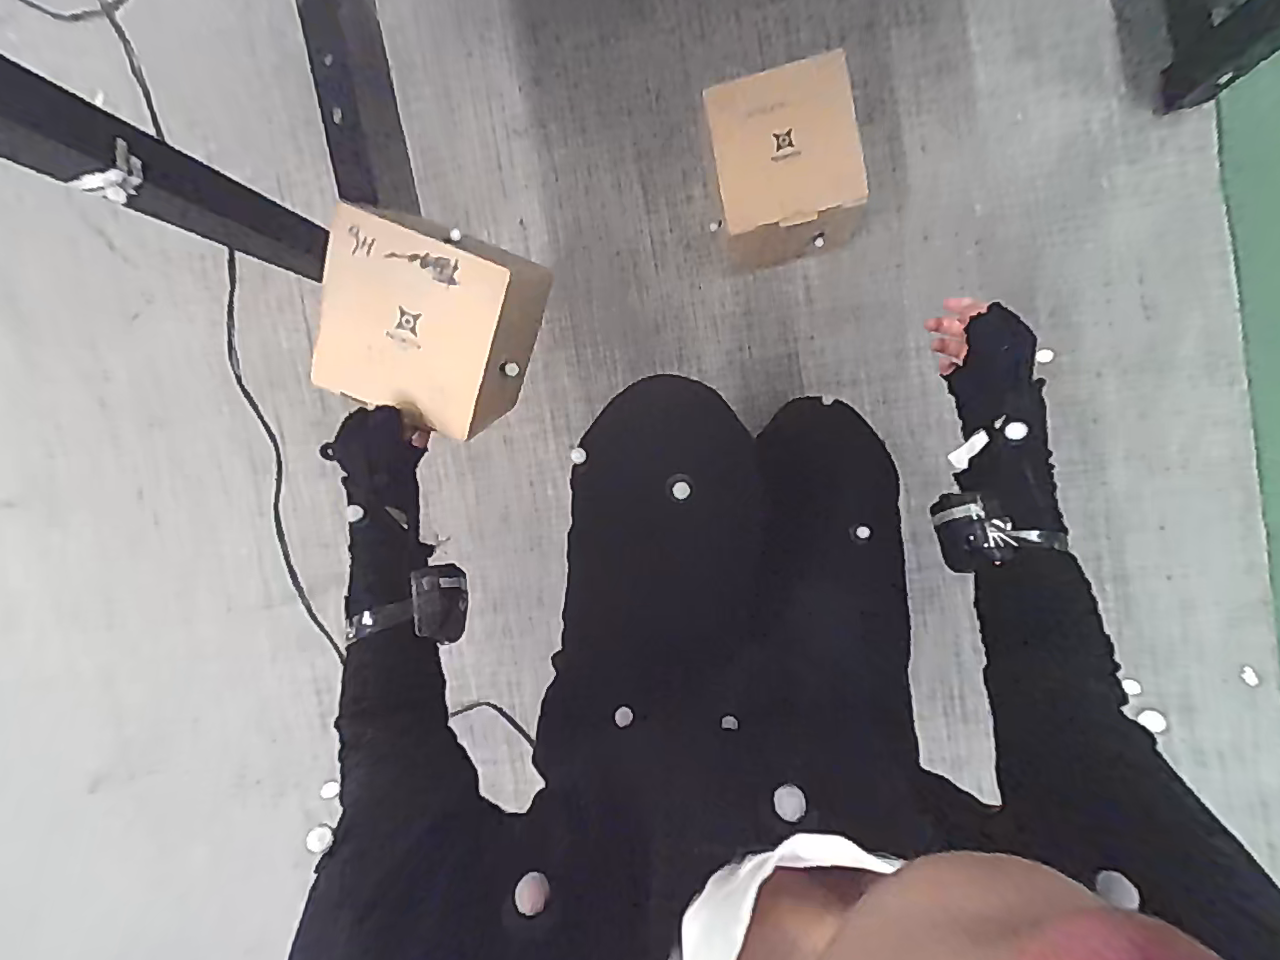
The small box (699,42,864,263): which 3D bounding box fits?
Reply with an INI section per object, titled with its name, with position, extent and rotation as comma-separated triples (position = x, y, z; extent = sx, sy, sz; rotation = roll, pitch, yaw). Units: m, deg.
[small box]
position = 0.177, -0.405, 0.709
extent = 0.168, 0.176, 0.179
rotation = -11, 91, 9
